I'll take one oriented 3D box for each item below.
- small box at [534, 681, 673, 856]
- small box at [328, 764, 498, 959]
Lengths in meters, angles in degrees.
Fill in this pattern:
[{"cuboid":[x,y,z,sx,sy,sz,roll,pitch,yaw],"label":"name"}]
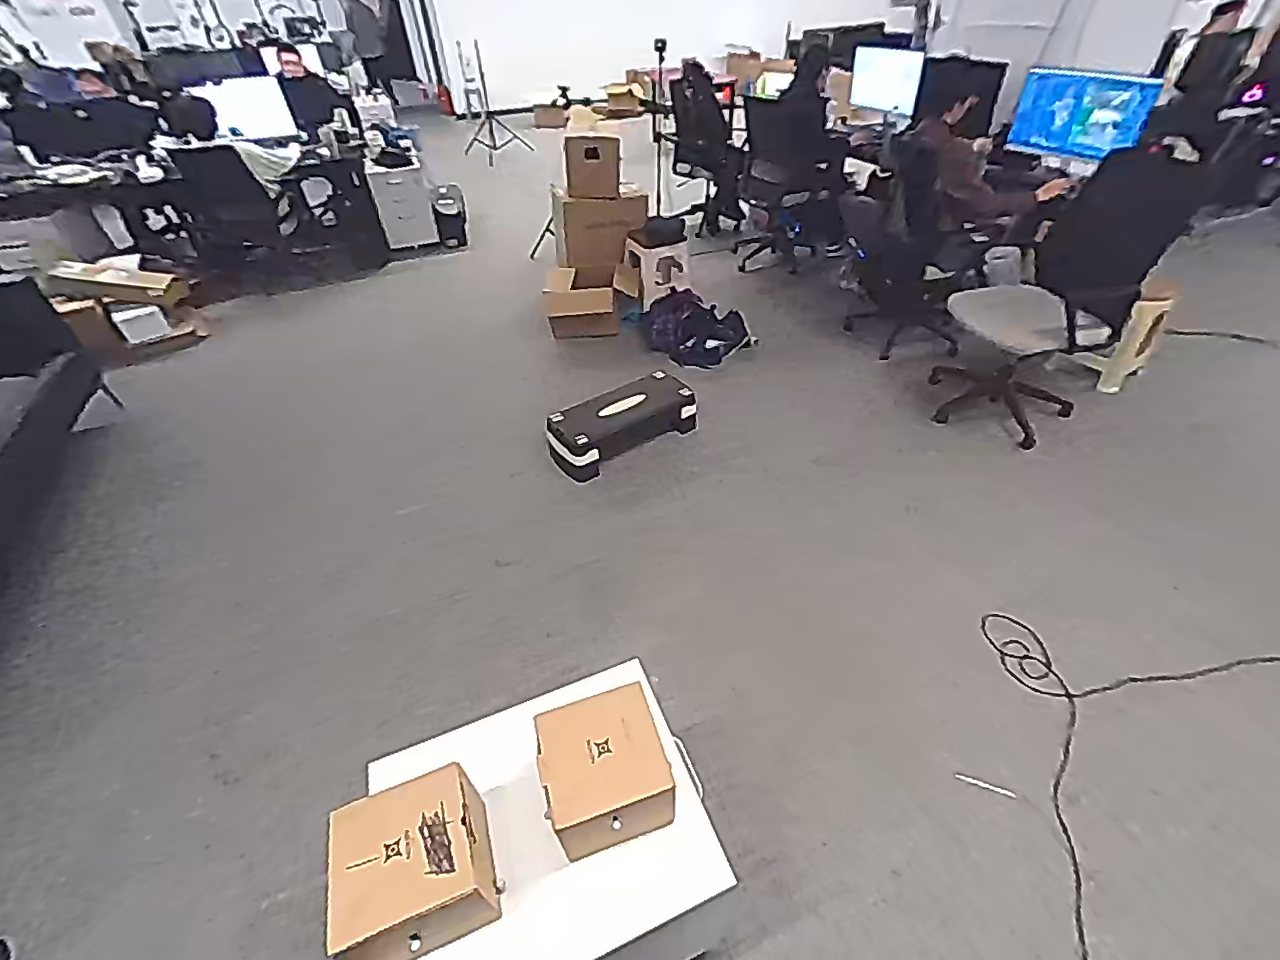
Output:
[{"cuboid":[-0.054,0.451,0.843,0.179,0.176,0.168,-14,45,-12],"label":"small box"},{"cuboid":[-0.307,0.540,0.757,0.179,0.176,0.168,-17,43,-14],"label":"small box"}]
